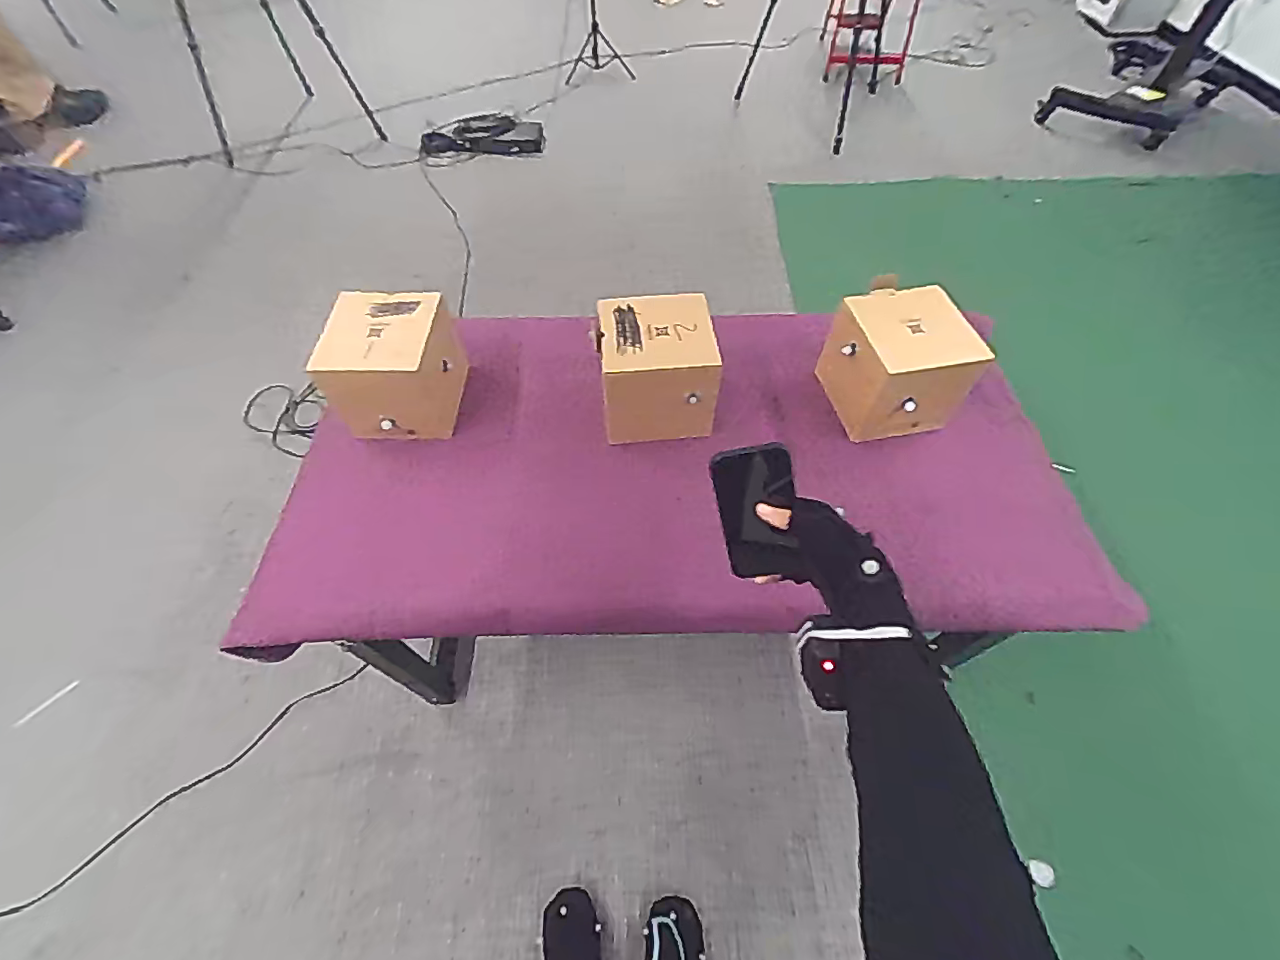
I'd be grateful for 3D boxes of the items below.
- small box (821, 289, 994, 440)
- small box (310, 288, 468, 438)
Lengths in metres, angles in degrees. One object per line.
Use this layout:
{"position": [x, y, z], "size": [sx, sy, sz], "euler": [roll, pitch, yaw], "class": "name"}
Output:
{"position": [0.420, -0.180, 0.884], "size": [0.168, 0.176, 0.179], "euler": [-9, 56, -5], "class": "small box"}
{"position": [-0.394, -0.190, 0.889], "size": [0.168, 0.176, 0.179], "euler": [1, 58, 1], "class": "small box"}
